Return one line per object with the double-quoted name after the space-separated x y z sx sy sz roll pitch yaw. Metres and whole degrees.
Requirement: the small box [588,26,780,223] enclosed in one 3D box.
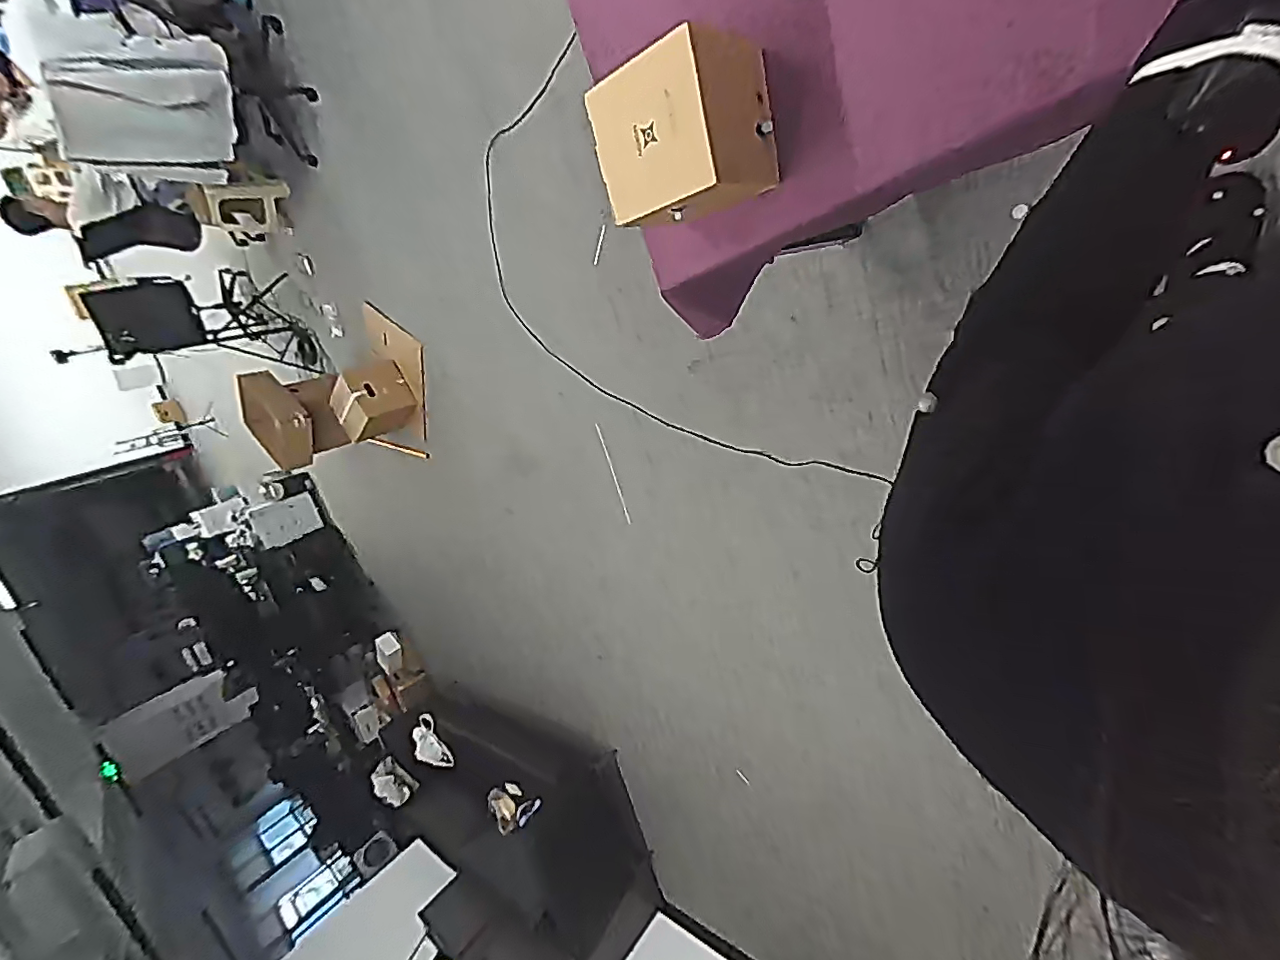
0.063 -0.457 0.729 0.179 0.176 0.168 2 113 43 "small box"
